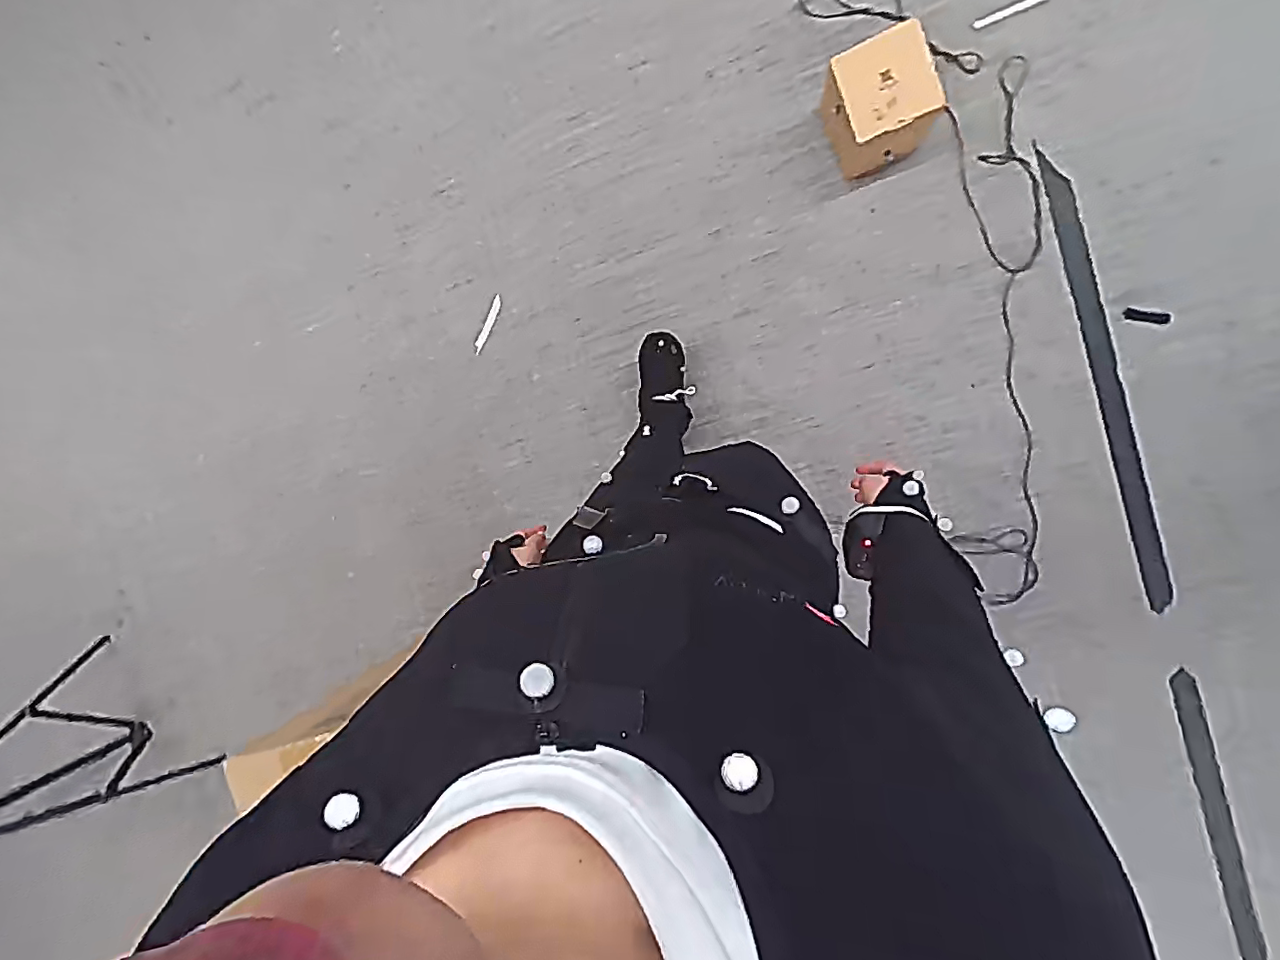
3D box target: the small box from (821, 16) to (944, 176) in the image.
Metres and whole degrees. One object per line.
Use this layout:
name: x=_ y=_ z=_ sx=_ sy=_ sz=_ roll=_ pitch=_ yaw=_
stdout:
small box: x=0.480 y=-0.765 z=1.099 sx=0.168 sy=0.176 sz=0.179 roll=-19 pitch=92 yaw=14

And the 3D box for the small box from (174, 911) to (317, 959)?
small box: x=-0.517 y=0.675 z=0.661 sx=0.179 sy=0.176 sz=0.168 roll=-21 pitch=91 yaw=14
